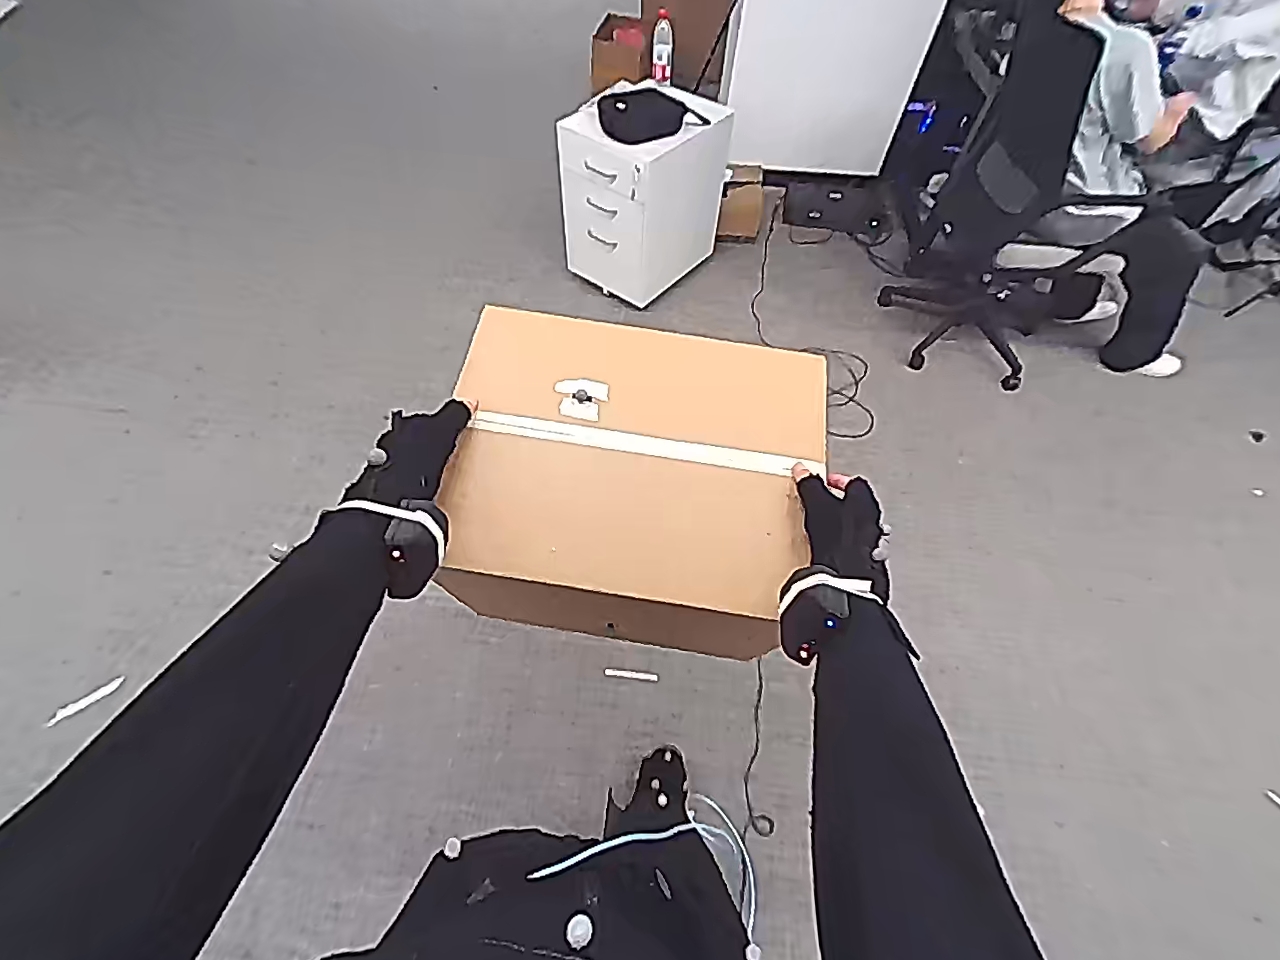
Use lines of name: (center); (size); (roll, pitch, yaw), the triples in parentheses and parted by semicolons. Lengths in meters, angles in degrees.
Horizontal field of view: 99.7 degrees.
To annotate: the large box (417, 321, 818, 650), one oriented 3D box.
large box: (-0.008, 0.030, 0.723); (0.408, 0.320, 0.320); (9, 65, 2)
